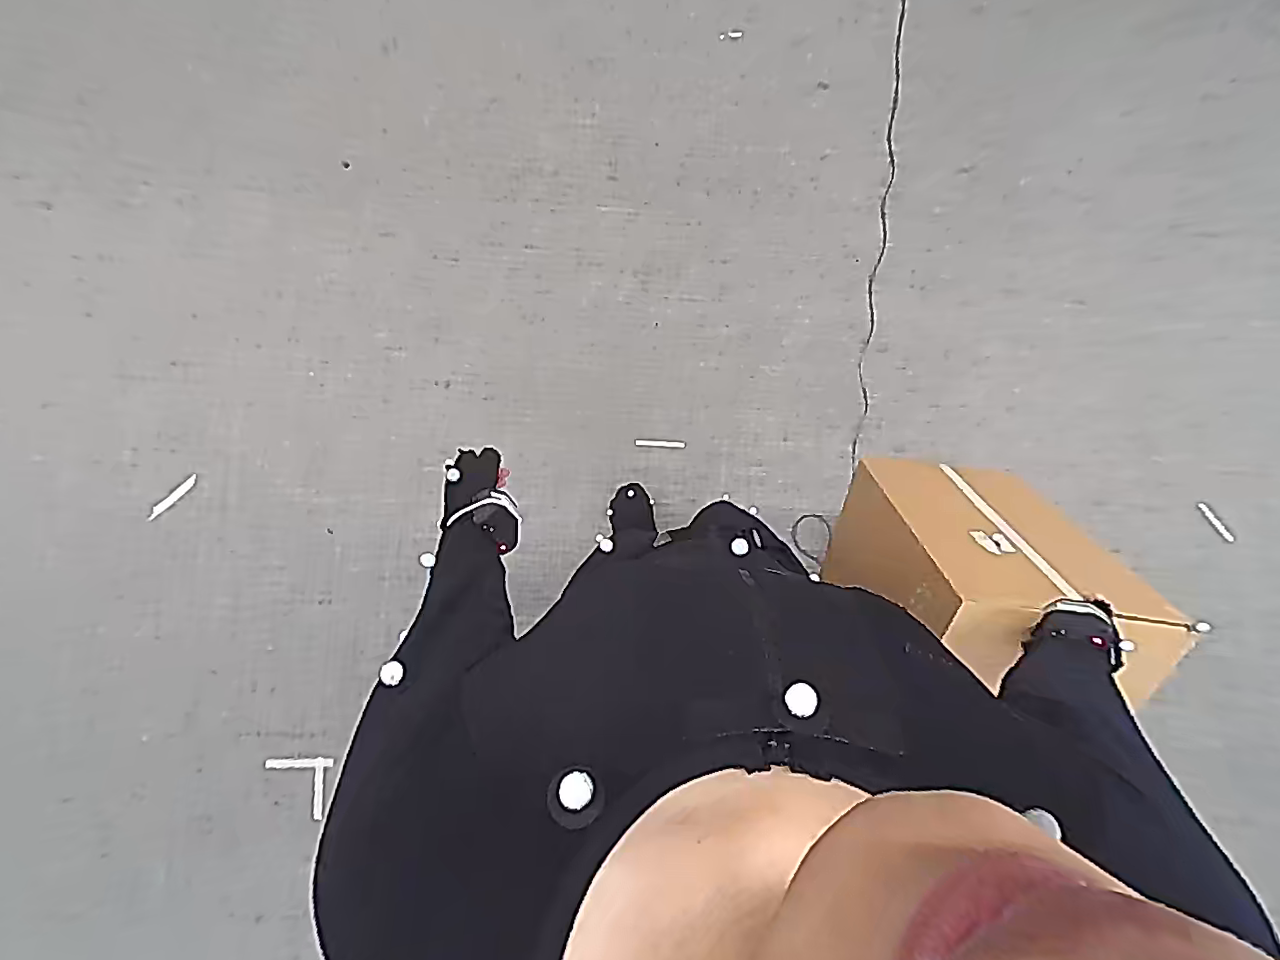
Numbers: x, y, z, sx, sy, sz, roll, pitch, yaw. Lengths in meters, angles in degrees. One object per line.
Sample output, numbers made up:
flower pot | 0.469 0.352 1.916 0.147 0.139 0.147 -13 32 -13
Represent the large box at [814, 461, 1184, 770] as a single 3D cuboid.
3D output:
large box | 0.541 0.210 0.938 0.320 0.408 0.320 7 120 -2
